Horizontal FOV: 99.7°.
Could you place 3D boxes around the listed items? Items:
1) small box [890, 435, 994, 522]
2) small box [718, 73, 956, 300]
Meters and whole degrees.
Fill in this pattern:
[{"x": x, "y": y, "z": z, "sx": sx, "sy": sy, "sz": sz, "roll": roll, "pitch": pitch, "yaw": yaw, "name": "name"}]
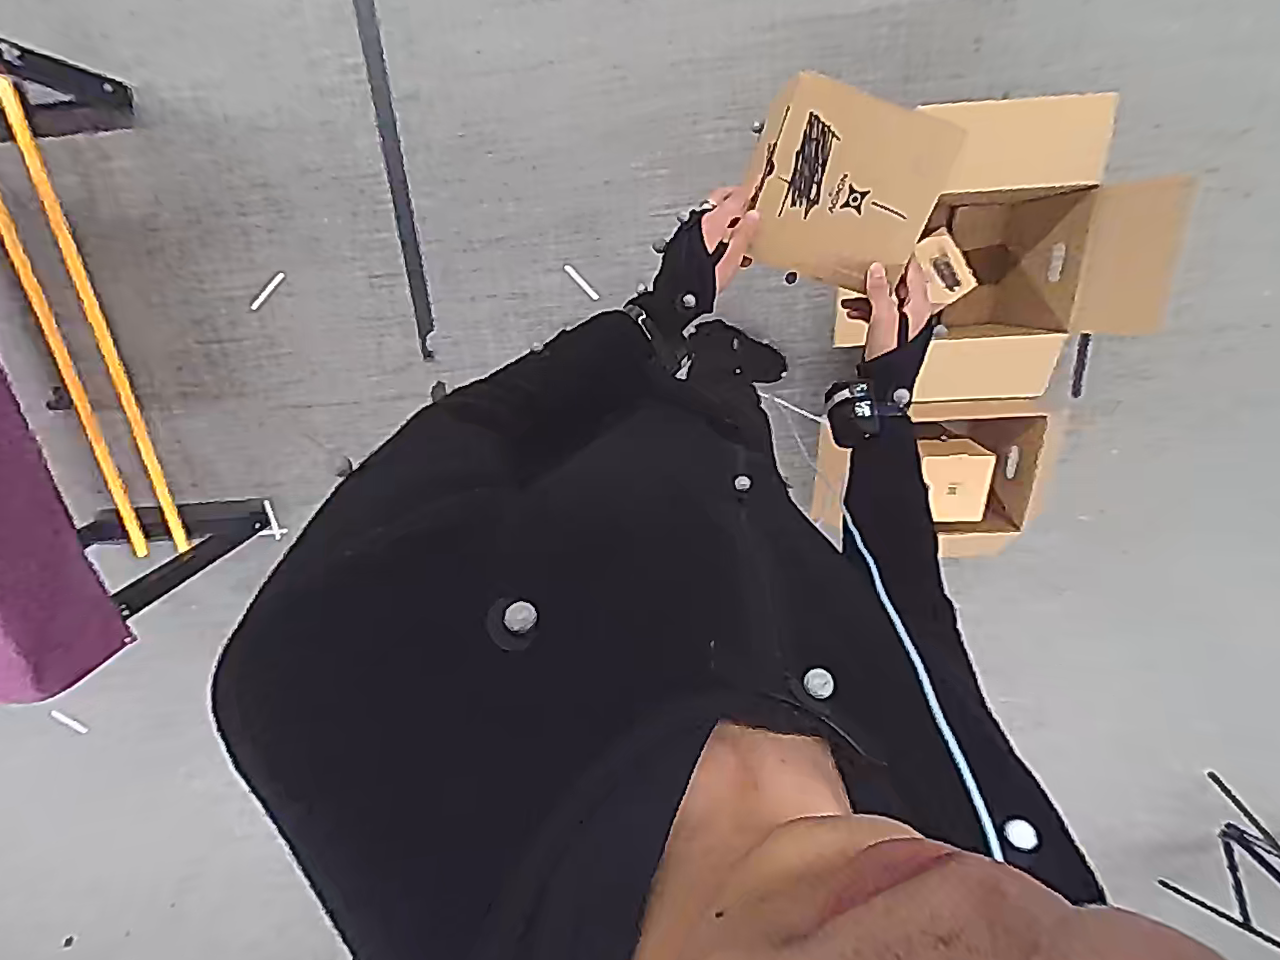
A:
[{"x": 0.755, "y": -0.007, "z": 1.375, "sx": 0.168, "sy": 0.176, "sz": 0.179, "roll": -1, "pitch": 111, "yaw": 3, "name": "small box"}, {"x": 0.199, "y": -0.317, "z": 0.610, "sx": 0.179, "sy": 0.176, "sz": 0.168, "roll": 15, "pitch": 115, "yaw": -6, "name": "small box"}]
